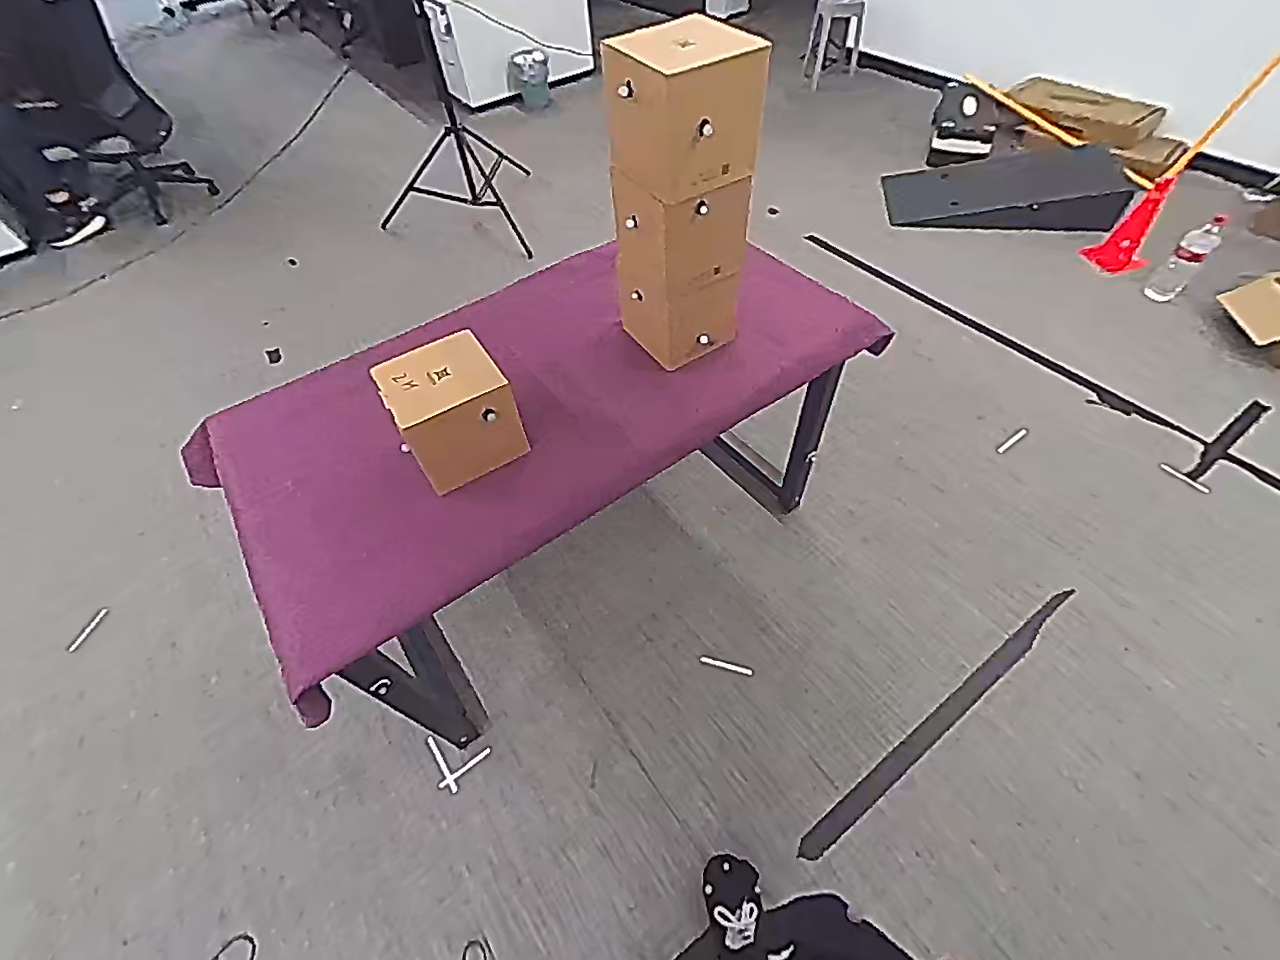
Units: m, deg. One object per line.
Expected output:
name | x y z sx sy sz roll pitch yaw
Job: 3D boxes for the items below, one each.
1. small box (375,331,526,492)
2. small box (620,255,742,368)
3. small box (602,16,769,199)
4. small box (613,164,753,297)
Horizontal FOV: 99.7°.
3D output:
small box | -0.309 -0.113 0.915 0.179 0.176 0.168 -29 56 -16
small box | 0.076 -0.353 1.064 0.168 0.176 0.179 -30 58 -16
small box | 0.065 -0.539 0.795 0.168 0.176 0.179 -28 56 -15
small box | 0.070 -0.447 0.930 0.168 0.176 0.179 -28 56 -15
